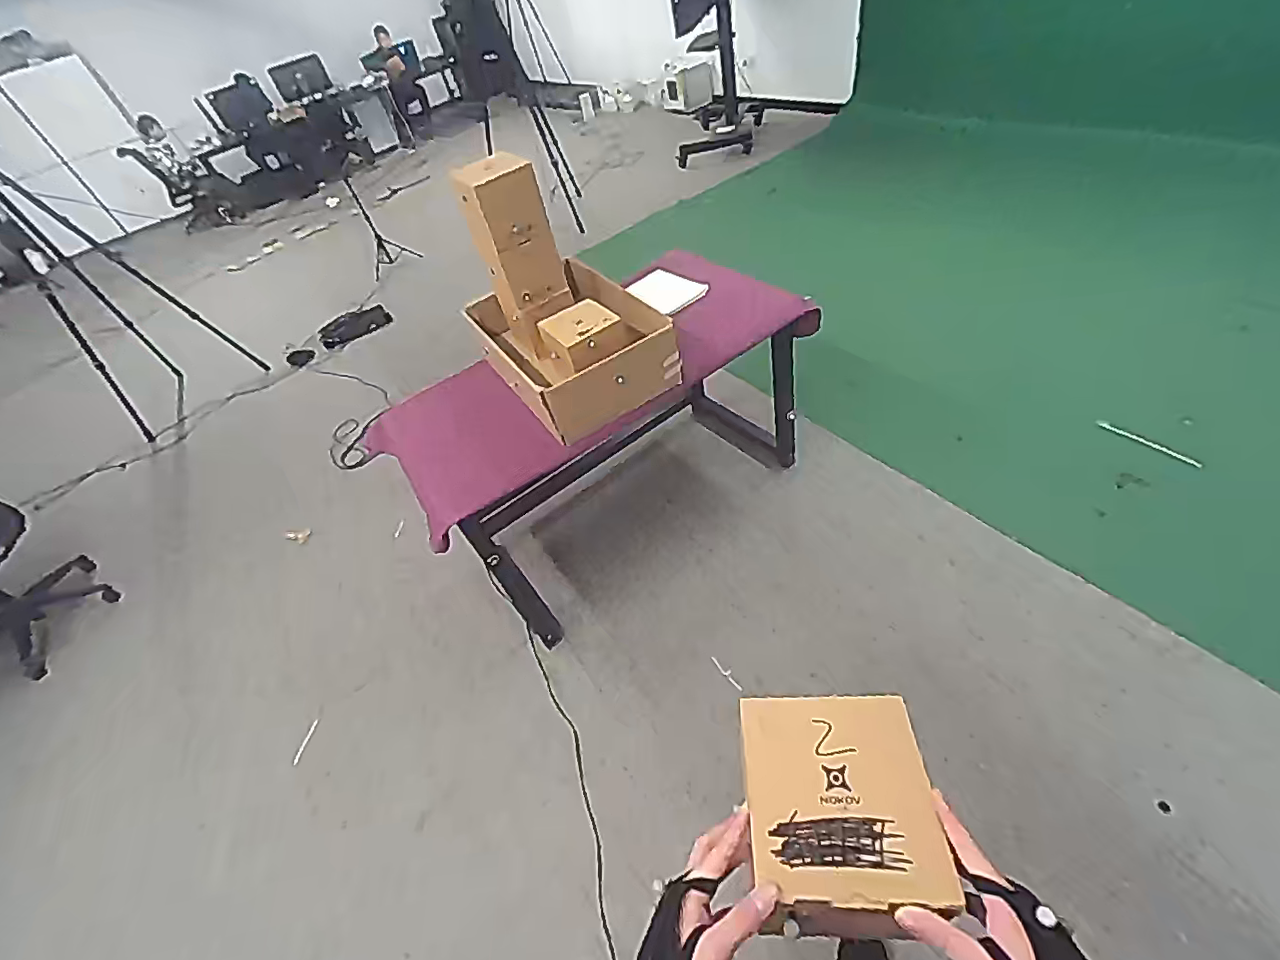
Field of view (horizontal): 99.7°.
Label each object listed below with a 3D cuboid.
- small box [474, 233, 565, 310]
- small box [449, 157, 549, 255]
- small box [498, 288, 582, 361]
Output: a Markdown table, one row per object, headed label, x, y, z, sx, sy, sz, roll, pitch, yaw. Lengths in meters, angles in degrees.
| label | x | y | z | sx | sy | sz | roll | pitch | yaw |
| --- | --- | --- | --- | --- | --- | --- | --- | --- | --- |
| small box | -0.334 | -0.603 | 1.524 | 0.168 | 0.176 | 0.179 | -34 | 48 | -17 |
| small box | -0.363 | -0.712 | 1.406 | 0.168 | 0.176 | 0.179 | -34 | 50 | -16 |
| small box | -0.299 | -0.489 | 1.637 | 0.168 | 0.176 | 0.179 | -33 | 49 | -16 |
